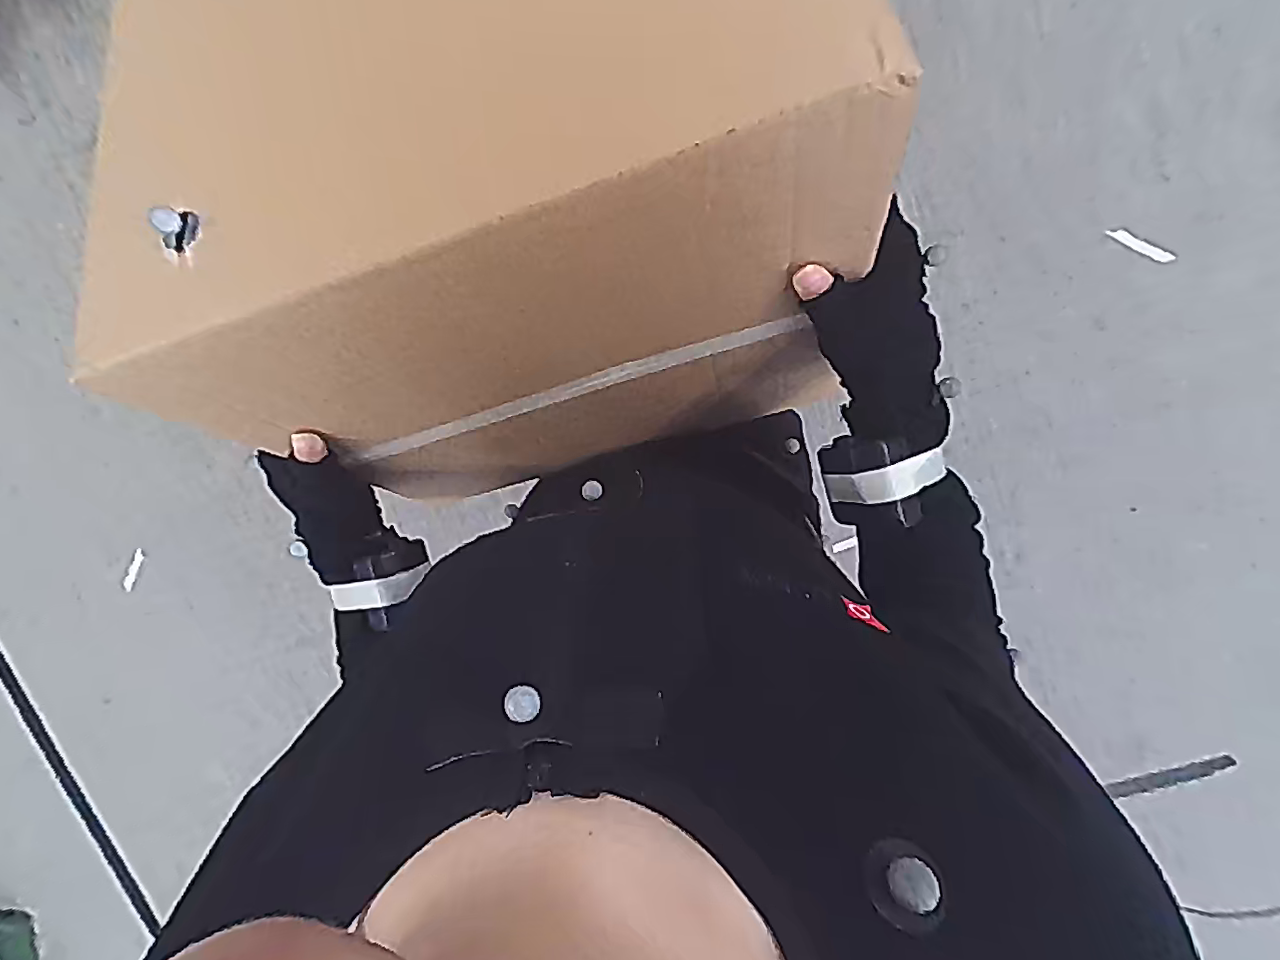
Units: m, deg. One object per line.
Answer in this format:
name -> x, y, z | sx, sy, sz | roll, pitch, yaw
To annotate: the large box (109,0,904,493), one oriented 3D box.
large box -> -0.081, -0.215, 0.425 | 0.408, 0.320, 0.320 | -15, 73, 9
